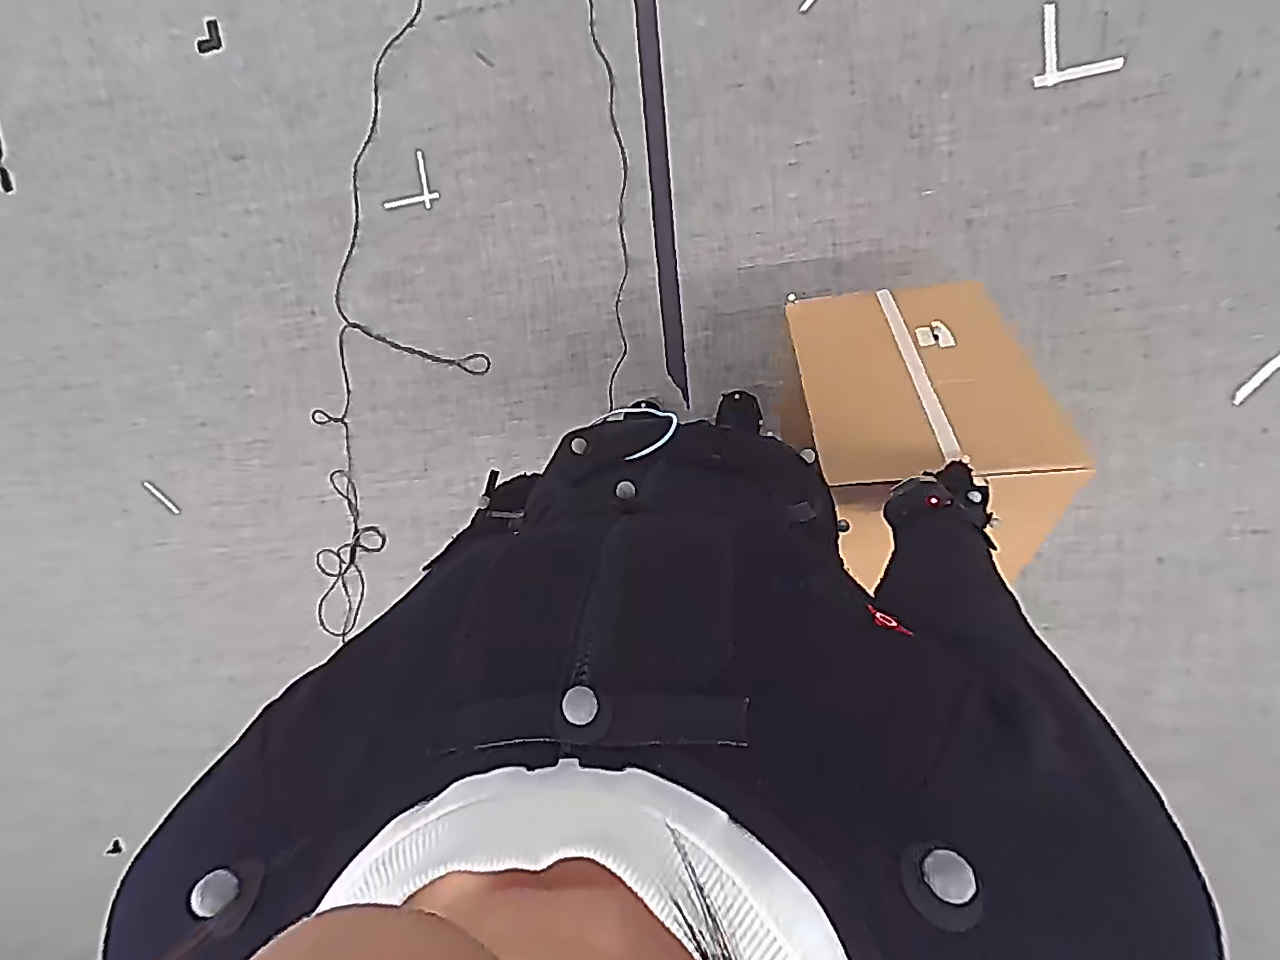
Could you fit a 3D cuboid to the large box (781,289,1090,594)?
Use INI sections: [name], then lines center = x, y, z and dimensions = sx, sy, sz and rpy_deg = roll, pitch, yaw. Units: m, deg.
[large box]
center = 0.425, -0.061, 0.911
dimensions = 0.320, 0.408, 0.320
rpy_deg = -3, 140, 7
